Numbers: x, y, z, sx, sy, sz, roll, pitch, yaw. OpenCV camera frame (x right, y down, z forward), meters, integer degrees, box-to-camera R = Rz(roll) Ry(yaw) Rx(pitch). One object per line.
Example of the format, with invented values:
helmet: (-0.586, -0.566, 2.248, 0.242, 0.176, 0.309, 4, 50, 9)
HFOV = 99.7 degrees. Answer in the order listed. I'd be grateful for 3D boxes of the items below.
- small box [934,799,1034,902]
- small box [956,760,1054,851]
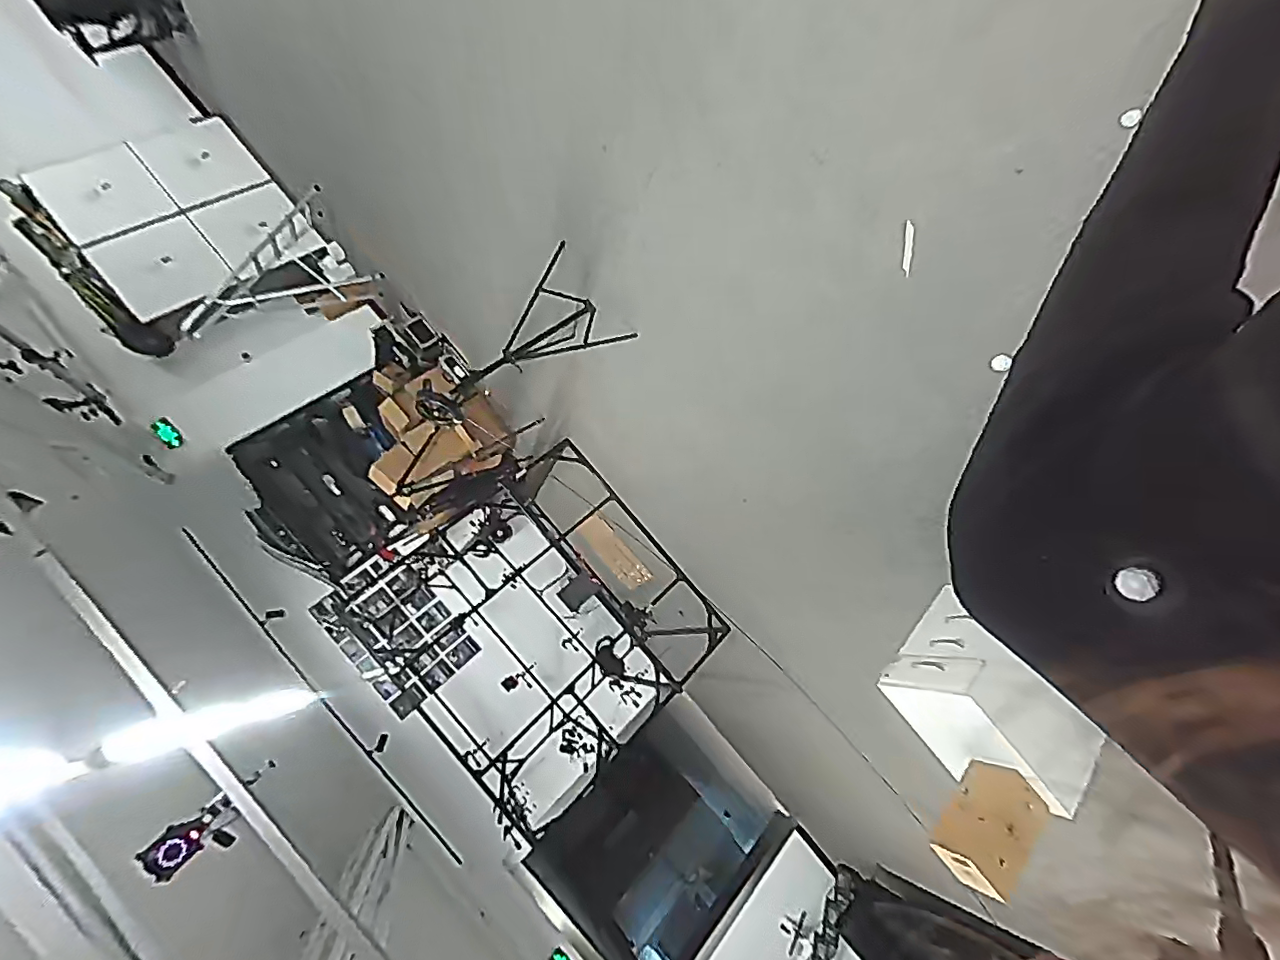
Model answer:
small box: (1.073, 1.144, 1.688, 0.179, 0.176, 0.168, 50, 157, 0)
small box: (1.186, 1.047, 1.758, 0.168, 0.176, 0.179, 50, 157, 0)
